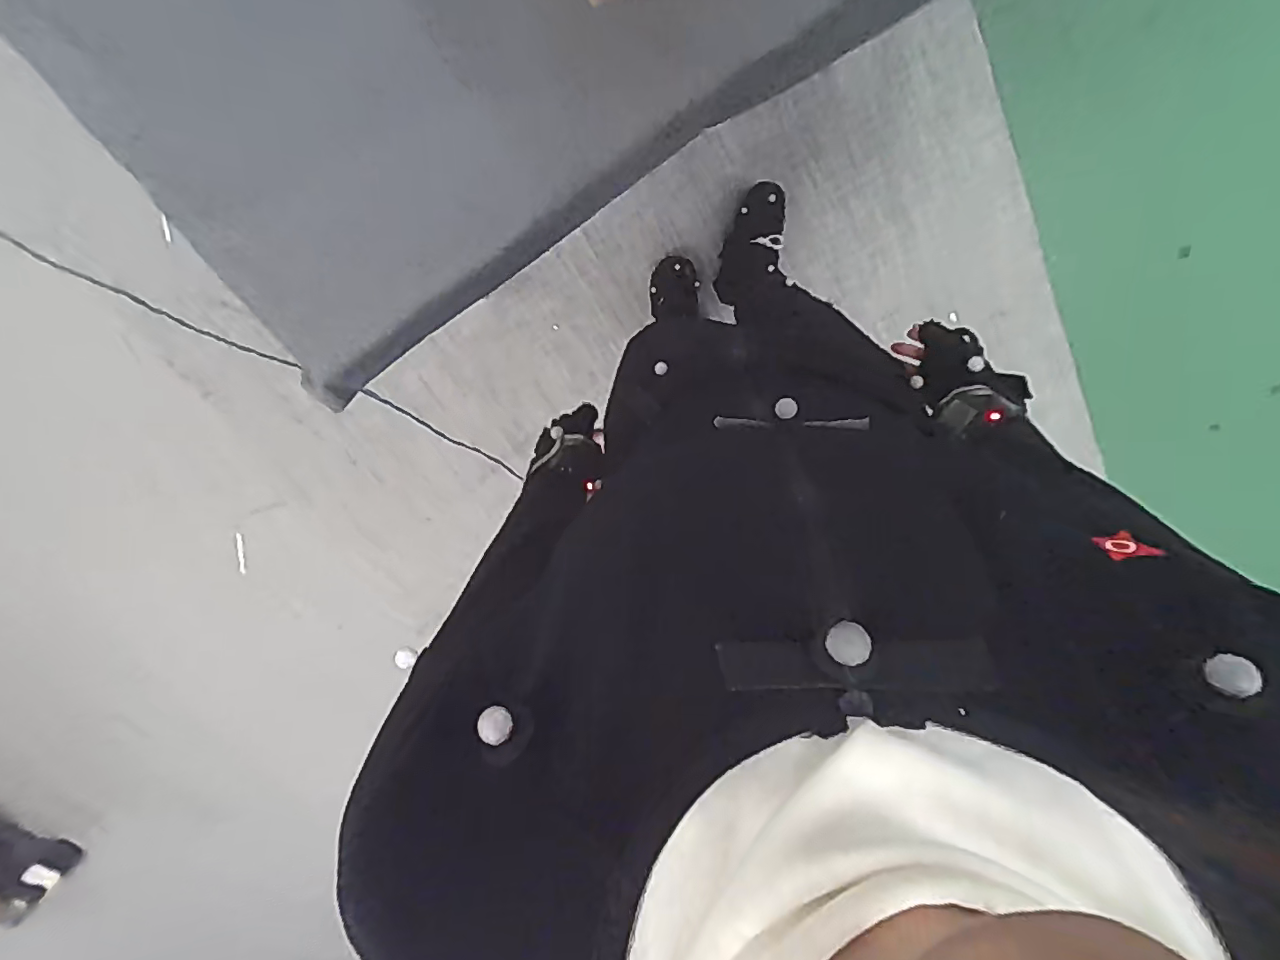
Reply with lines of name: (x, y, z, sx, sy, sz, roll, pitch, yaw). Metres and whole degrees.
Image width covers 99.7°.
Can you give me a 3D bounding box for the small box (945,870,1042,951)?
small box: (1.118, 1.390, 1.722, 0.179, 0.176, 0.168, -34, 109, 16)
